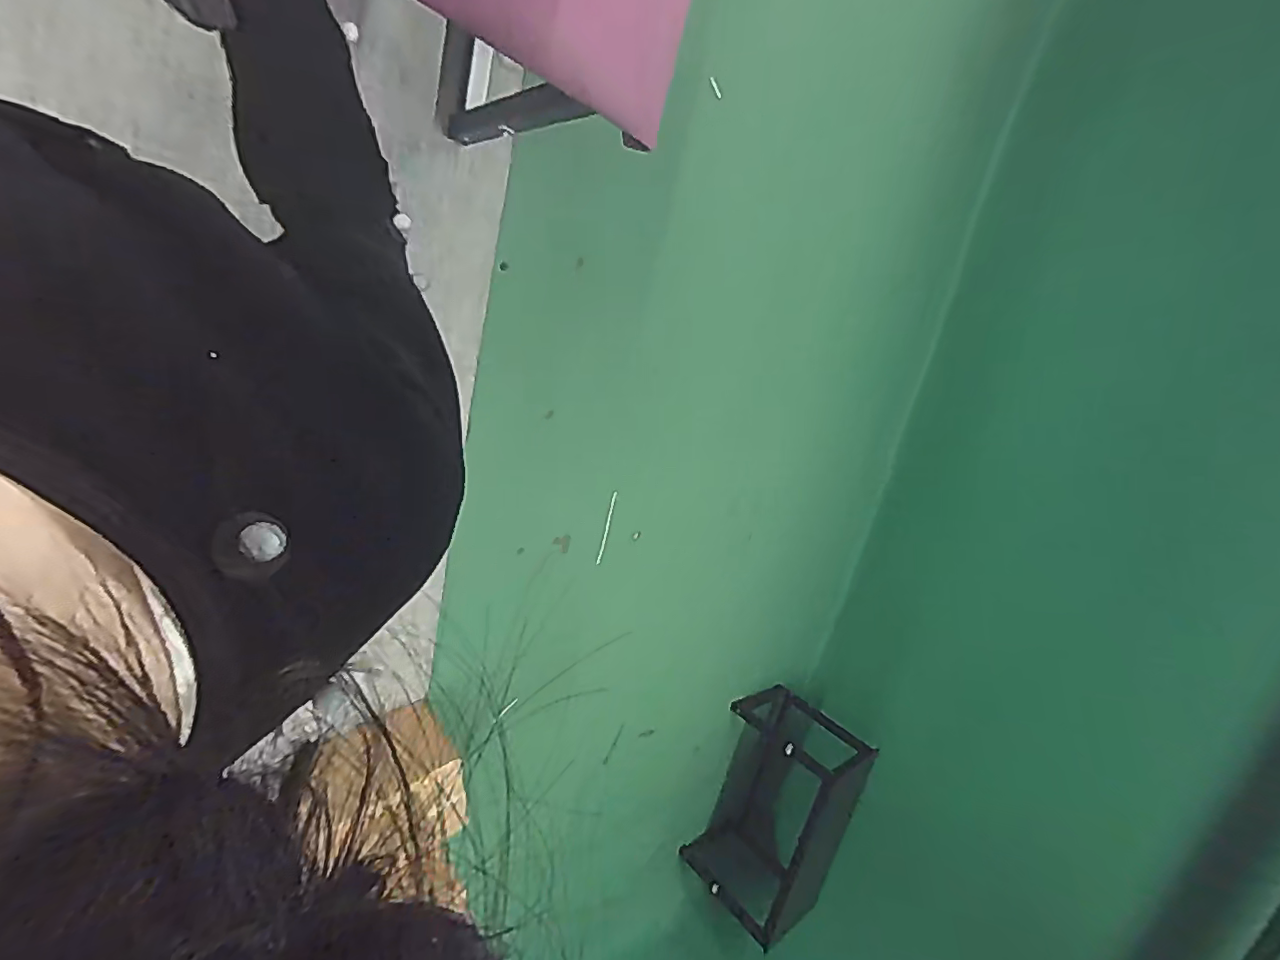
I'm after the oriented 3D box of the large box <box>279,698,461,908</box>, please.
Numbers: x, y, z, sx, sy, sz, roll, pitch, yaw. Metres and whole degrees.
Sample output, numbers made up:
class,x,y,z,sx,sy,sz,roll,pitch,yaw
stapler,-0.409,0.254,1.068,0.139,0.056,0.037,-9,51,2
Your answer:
class,x,y,z,sx,sy,sz,roll,pitch,yaw
large box,-0.827,0.971,1.679,0.408,0.320,0.320,-18,122,-40

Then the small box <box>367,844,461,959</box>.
class,x,y,z,sx,sy,sz,roll,pitch,yaw
small box,-0.577,1.085,1.375,0.179,0.176,0.168,-9,114,-41

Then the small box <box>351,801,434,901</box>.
class,x,y,z,sx,sy,sz,roll,pitch,yaw
small box,-0.681,1.027,1.485,0.168,0.176,0.179,-10,115,-41
